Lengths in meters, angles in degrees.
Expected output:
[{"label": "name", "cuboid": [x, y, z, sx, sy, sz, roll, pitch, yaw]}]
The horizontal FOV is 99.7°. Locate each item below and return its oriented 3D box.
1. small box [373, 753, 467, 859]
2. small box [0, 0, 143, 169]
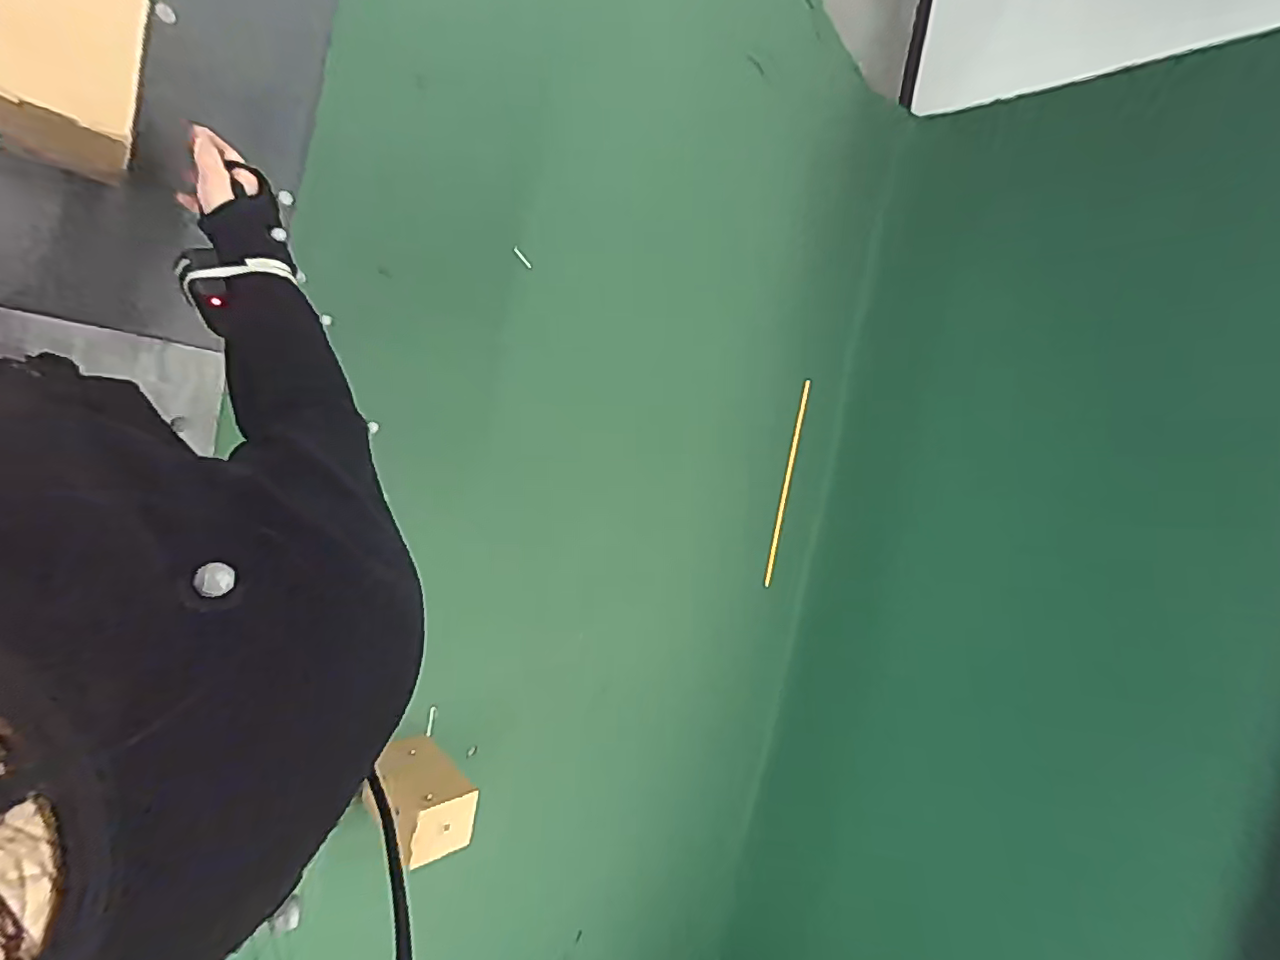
[{"label": "small box", "cuboid": [-0.619, 0.902, 1.518, 0.179, 0.176, 0.168, 8, 96, -48]}, {"label": "small box", "cuboid": [-0.513, -0.386, 0.426, 0.168, 0.176, 0.179, 9, 94, -47]}]
